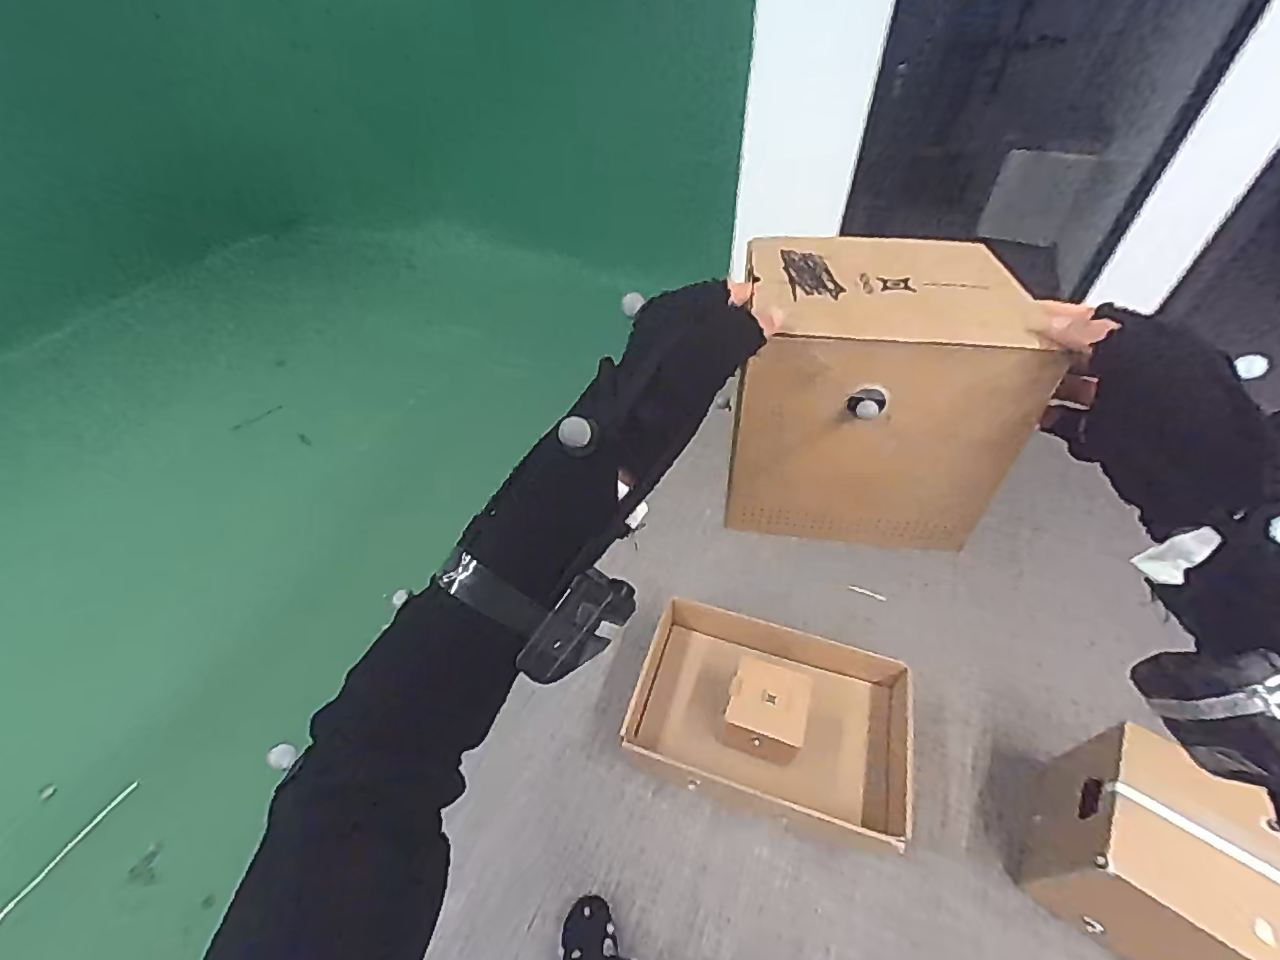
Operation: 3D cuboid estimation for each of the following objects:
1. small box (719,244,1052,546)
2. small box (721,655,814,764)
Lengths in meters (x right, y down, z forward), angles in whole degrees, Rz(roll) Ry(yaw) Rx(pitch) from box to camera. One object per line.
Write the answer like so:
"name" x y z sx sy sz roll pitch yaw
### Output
"small box" 0.156 -0.066 0.419 0.179 0.176 0.168 6 42 6
"small box" 0.301 0.555 1.300 0.179 0.176 0.168 15 50 13
